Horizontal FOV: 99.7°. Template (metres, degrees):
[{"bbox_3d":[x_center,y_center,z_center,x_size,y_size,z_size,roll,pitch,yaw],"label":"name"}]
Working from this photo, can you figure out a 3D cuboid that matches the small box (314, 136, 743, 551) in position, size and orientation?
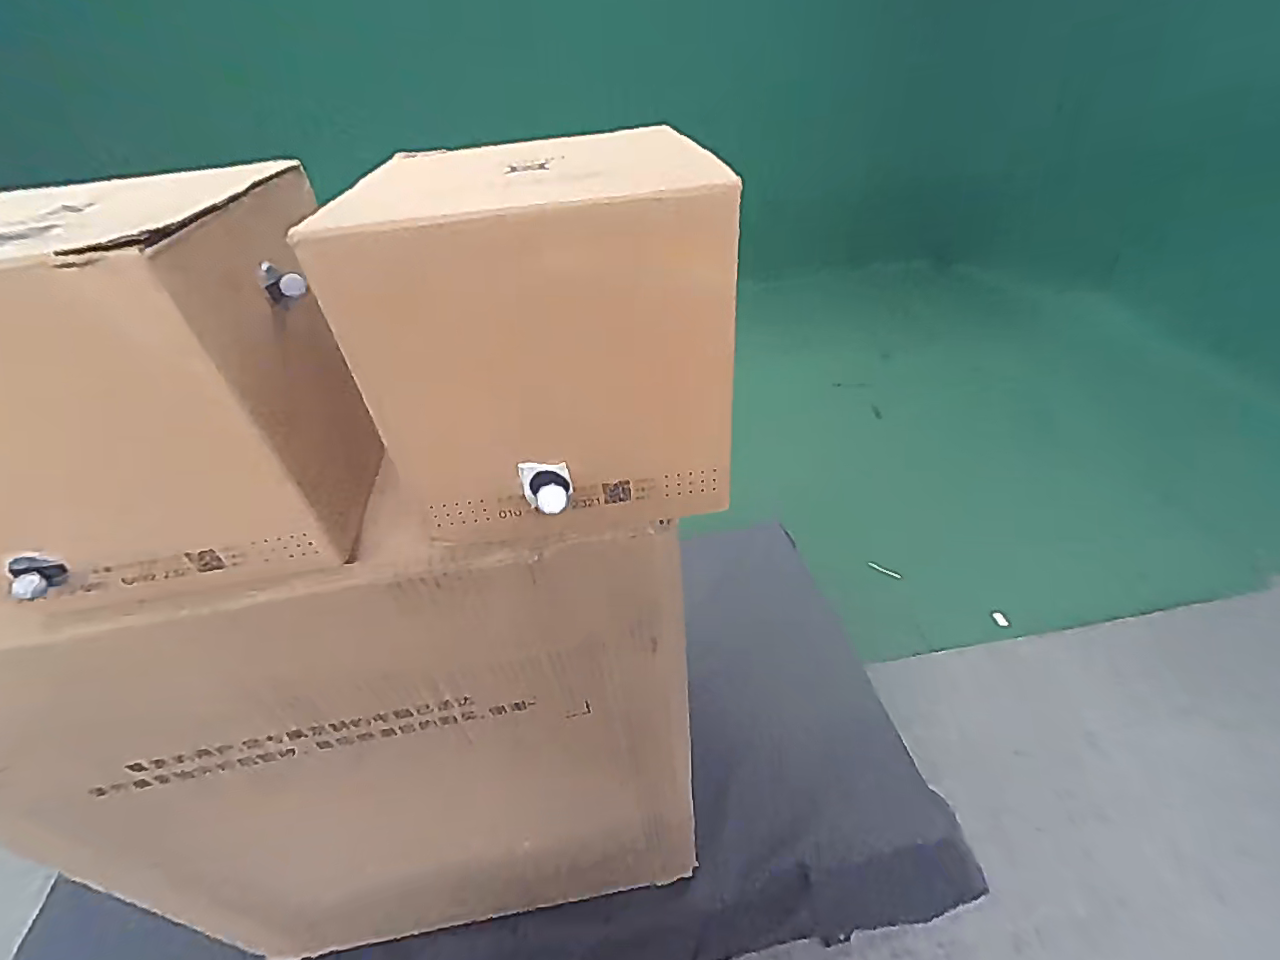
[{"bbox_3d":[-0.045,-0.085,0.317,0.168,0.176,0.179,-9,41,-3],"label":"small box"}]
